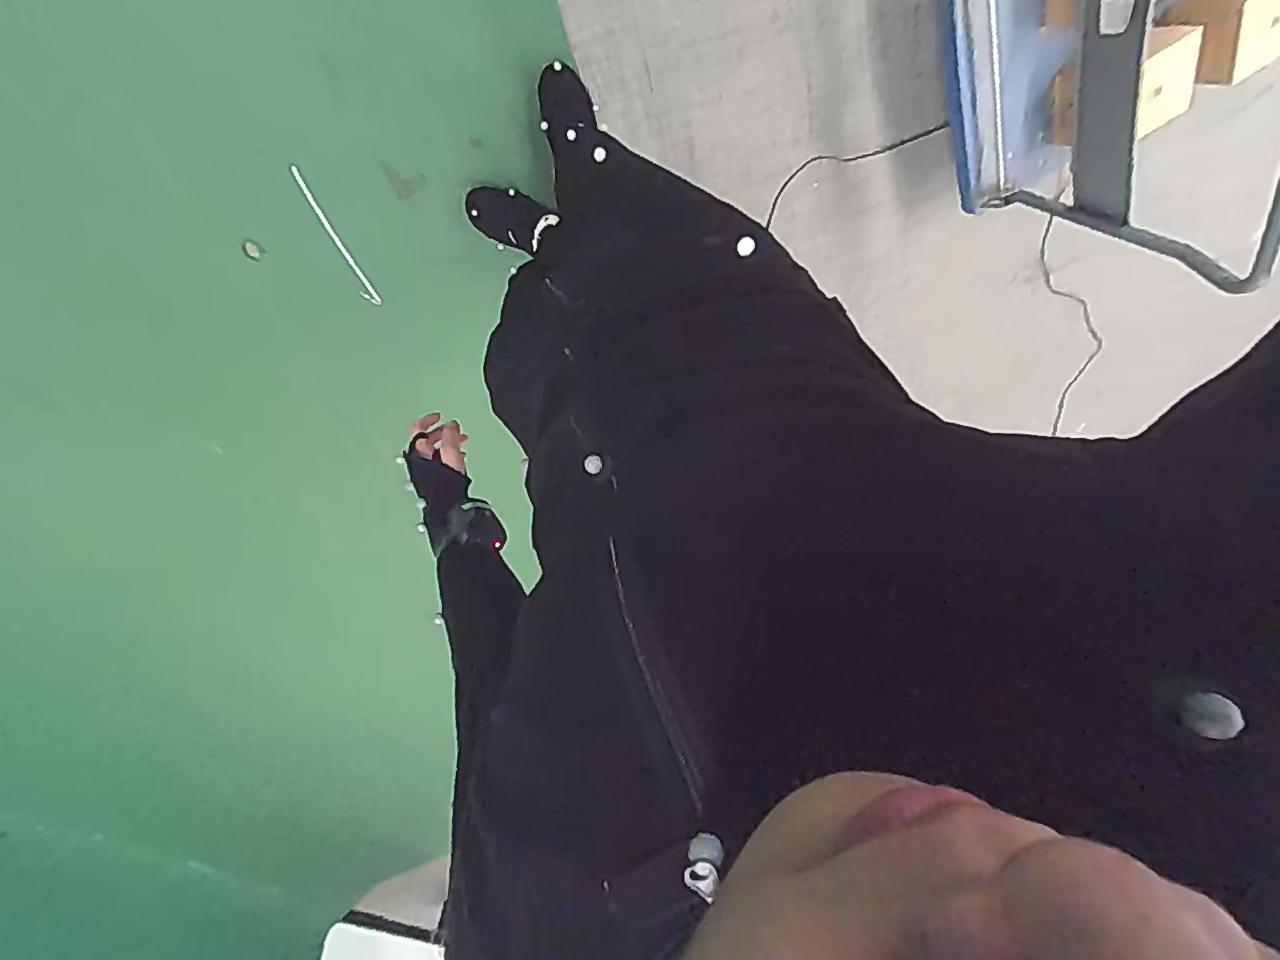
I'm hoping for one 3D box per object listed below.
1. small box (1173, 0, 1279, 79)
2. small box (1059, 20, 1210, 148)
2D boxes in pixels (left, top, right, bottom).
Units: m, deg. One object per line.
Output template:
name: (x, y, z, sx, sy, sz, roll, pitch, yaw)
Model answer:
small box: (1.318, -1.015, 1.172, 0.179, 0.176, 0.168, -32, 129, 11)
small box: (1.091, -0.886, 1.209, 0.179, 0.176, 0.168, -30, 130, 9)
